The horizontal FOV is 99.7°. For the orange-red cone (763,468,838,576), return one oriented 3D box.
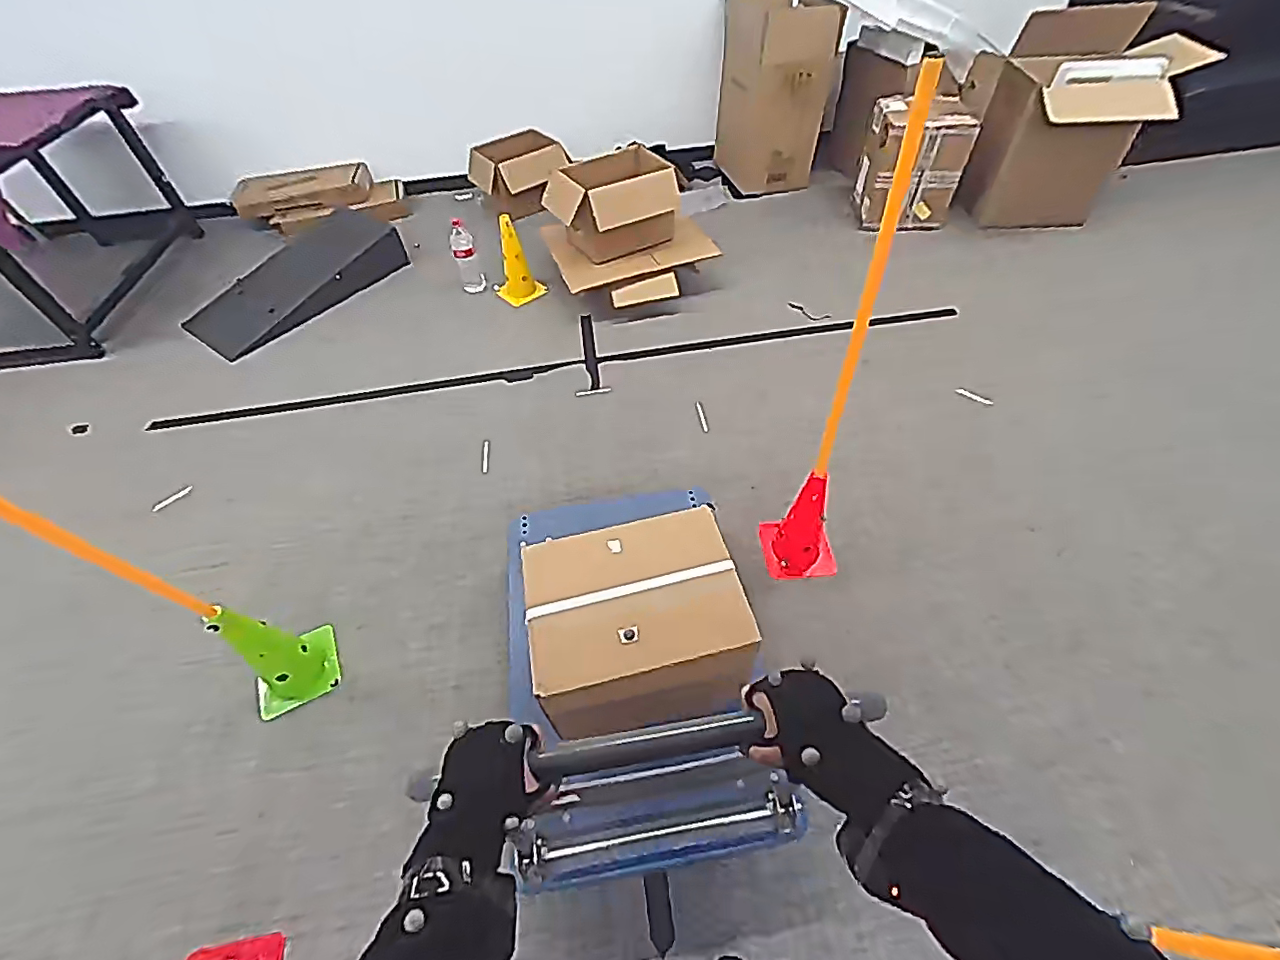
[{"bbox_3d":[0.470,0.092,1.485,0.199,0.360,0.198,-3,51,0],"label":"orange-red cone"}]
